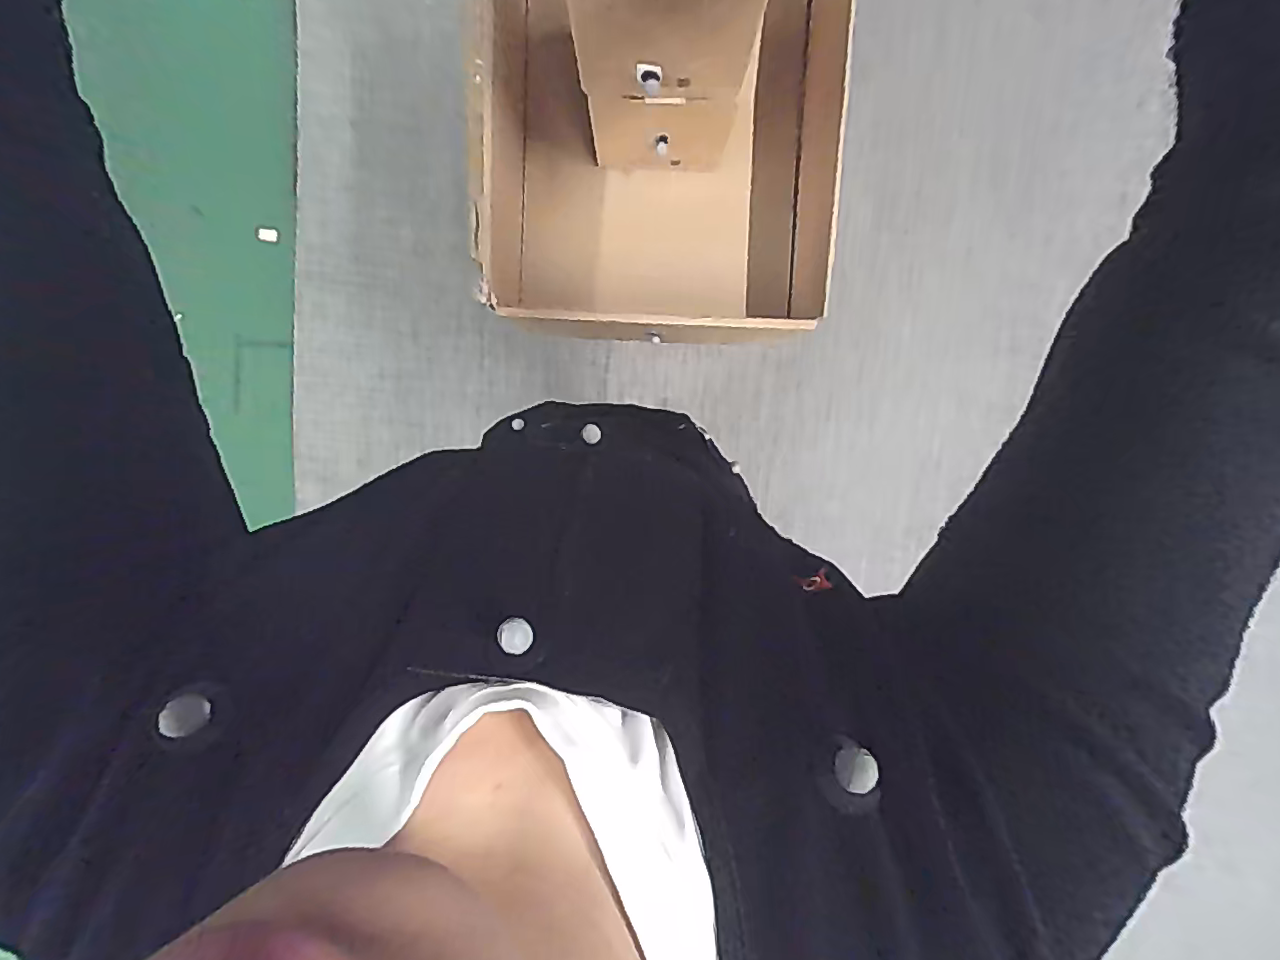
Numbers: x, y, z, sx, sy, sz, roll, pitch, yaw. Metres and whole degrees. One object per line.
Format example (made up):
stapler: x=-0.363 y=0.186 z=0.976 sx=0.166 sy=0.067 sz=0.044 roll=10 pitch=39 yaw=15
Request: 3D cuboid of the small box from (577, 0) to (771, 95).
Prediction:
small box: x=0.027 y=-0.481 z=0.475 sx=0.168 sy=0.176 sz=0.179 roll=0 pitch=98 yaw=1
